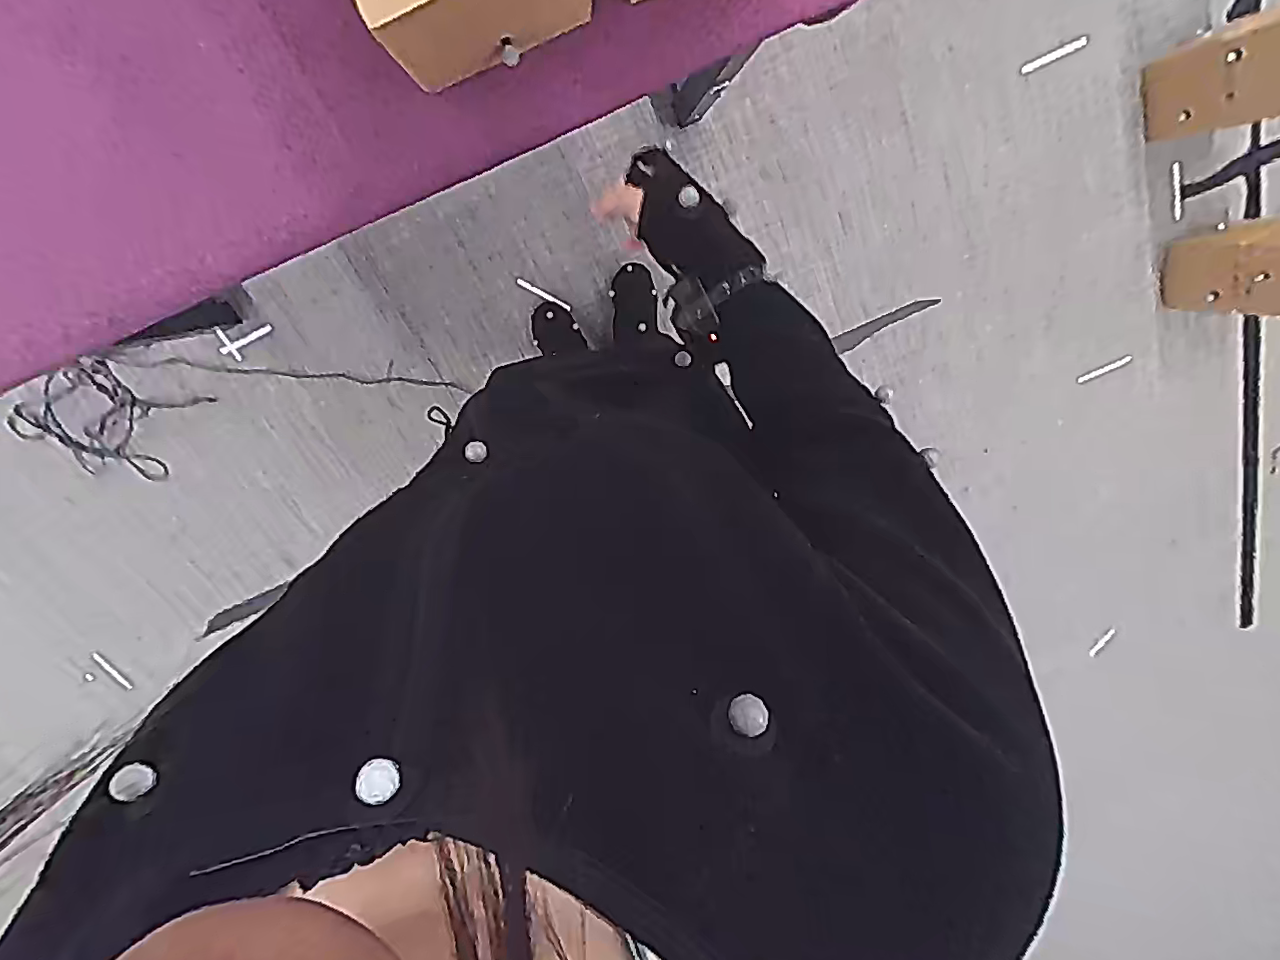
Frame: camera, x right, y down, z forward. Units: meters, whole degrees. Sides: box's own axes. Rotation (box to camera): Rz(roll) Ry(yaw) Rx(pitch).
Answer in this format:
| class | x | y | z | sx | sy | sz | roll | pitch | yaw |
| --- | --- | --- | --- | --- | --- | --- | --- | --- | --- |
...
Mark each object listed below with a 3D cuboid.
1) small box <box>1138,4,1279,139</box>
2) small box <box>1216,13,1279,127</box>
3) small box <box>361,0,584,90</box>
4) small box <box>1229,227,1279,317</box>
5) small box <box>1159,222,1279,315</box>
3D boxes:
| class | x | y | z | sx | sy | sz | roll | pitch | yaw |
| --- | --- | --- | --- | --- | --- | --- | --- | --- | --- |
| small box | 1.259 | -0.886 | 1.193 | 0.168 | 0.176 | 0.179 | -27 | 111 | 4 |
| small box | 1.279 | -0.819 | 1.044 | 0.179 | 0.176 | 0.168 | -25 | 113 | 2 |
| small box | -0.146 | -0.443 | 0.415 | 0.179 | 0.176 | 0.168 | -24 | 113 | 2 |
| small box | 1.492 | -0.480 | 1.207 | 0.179 | 0.176 | 0.168 | -25 | 113 | 4 |
| small box | 1.463 | -0.535 | 1.358 | 0.168 | 0.176 | 0.179 | -21 | 114 | 2 |
